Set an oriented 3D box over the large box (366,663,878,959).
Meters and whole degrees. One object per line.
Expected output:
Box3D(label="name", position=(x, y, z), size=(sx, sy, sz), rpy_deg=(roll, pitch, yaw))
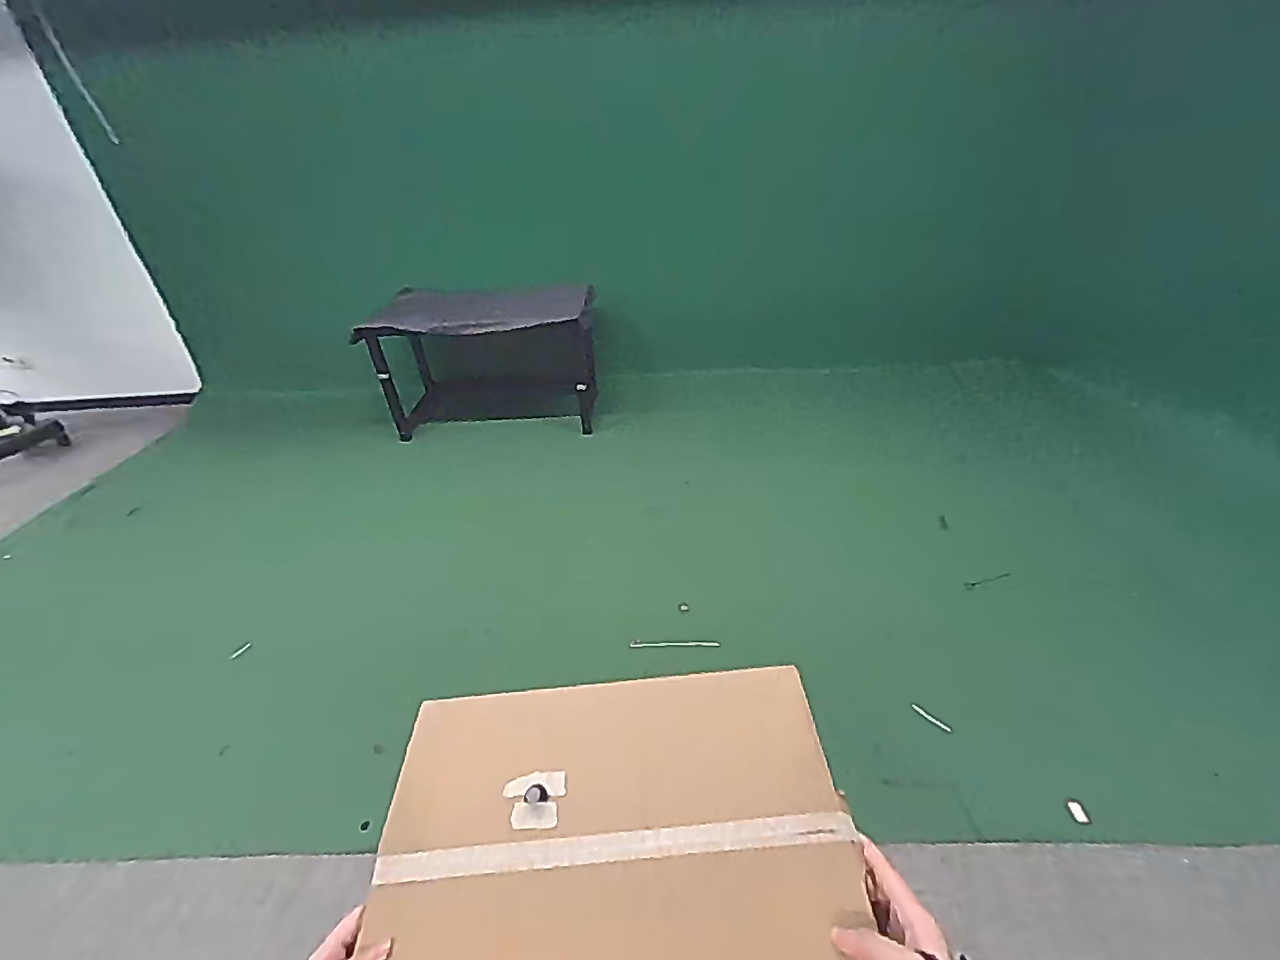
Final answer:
Box3D(label="large box", position=(-0.006, 0.434, 0.568), size=(0.408, 0.320, 0.320), rpy_deg=(-8, 39, 3))
